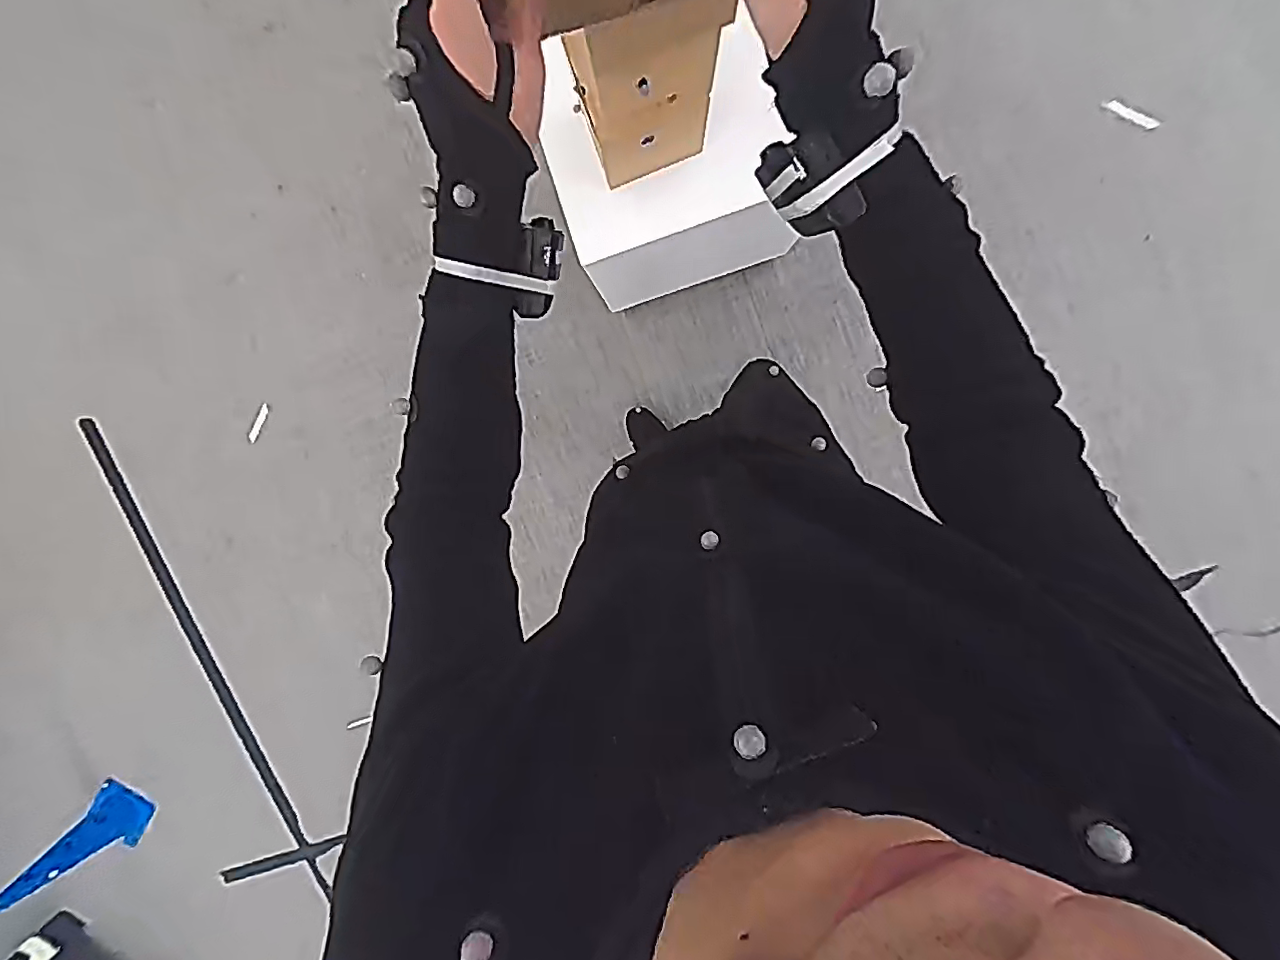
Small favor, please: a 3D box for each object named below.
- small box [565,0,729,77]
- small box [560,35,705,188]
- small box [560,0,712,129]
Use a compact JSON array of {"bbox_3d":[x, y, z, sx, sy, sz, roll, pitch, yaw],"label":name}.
[{"bbox_3d":[-0.006,-0.558,0.544,0.179,0.176,0.168,-19,97,5],"label":"small box"},{"bbox_3d":[-0.007,-0.605,0.868,0.179,0.176,0.168,-20,97,4],"label":"small box"},{"bbox_3d":[-0.007,-0.598,0.705,0.168,0.176,0.179,-19,96,5],"label":"small box"}]
